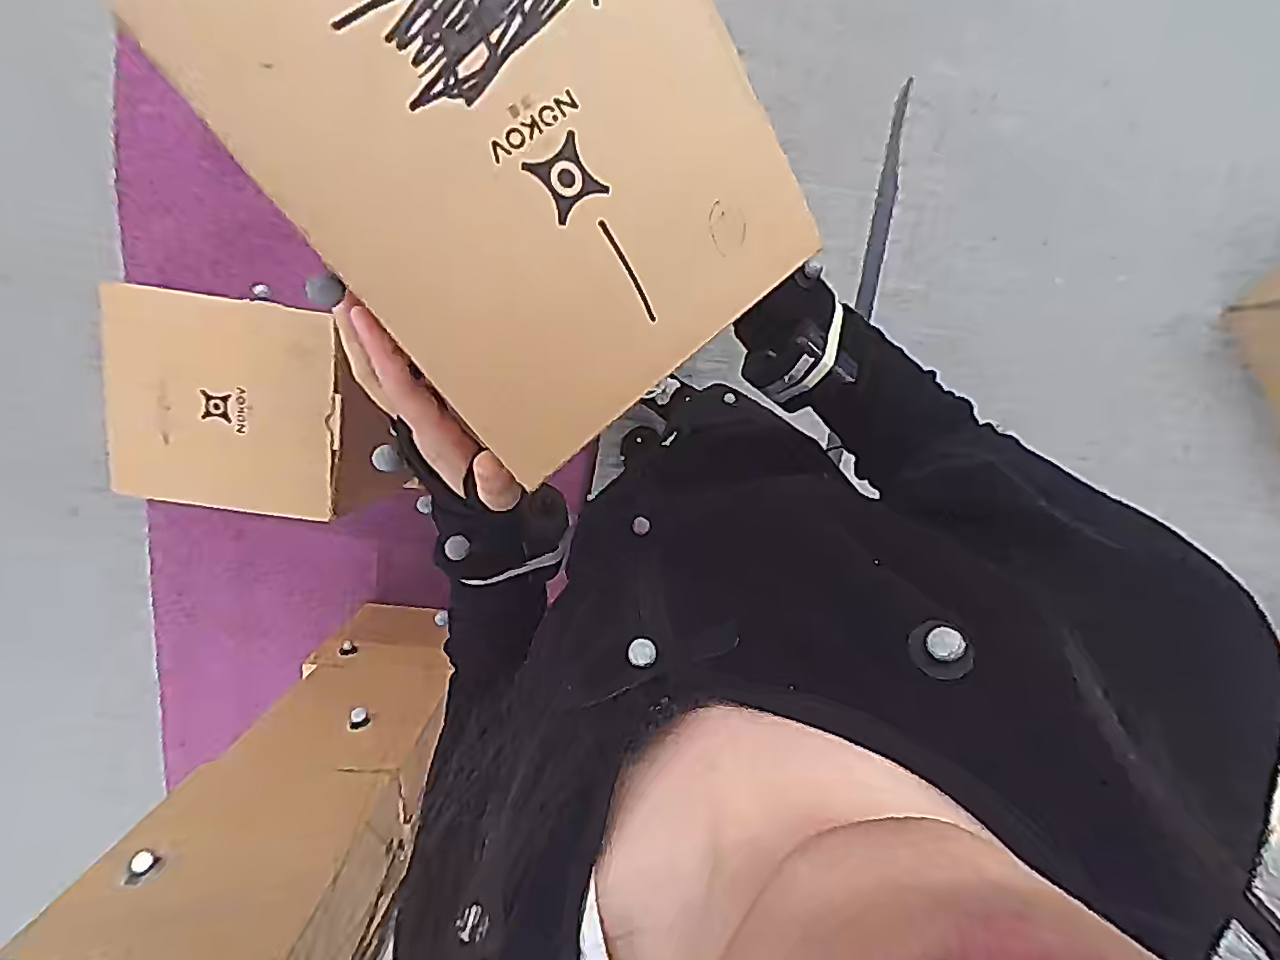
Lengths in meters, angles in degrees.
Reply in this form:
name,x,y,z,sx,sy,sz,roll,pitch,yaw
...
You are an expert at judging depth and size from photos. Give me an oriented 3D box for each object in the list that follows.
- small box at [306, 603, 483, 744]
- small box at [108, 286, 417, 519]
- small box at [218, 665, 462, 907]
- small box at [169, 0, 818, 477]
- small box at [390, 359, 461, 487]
name,x,y,z,sx,sy,sz,roll,pitch,yaw
small box,-0.325,0.283,0.749,0.179,0.176,0.168,5,102,-2
small box,-0.323,-0.074,0.502,0.179,0.176,0.168,7,102,-2
small box,-0.301,0.318,0.589,0.179,0.176,0.168,1,102,-1
small box,-0.056,-0.127,0.269,0.168,0.176,0.179,-39,112,-10
small box,-0.322,-0.097,0.662,0.179,0.176,0.168,6,102,-2
